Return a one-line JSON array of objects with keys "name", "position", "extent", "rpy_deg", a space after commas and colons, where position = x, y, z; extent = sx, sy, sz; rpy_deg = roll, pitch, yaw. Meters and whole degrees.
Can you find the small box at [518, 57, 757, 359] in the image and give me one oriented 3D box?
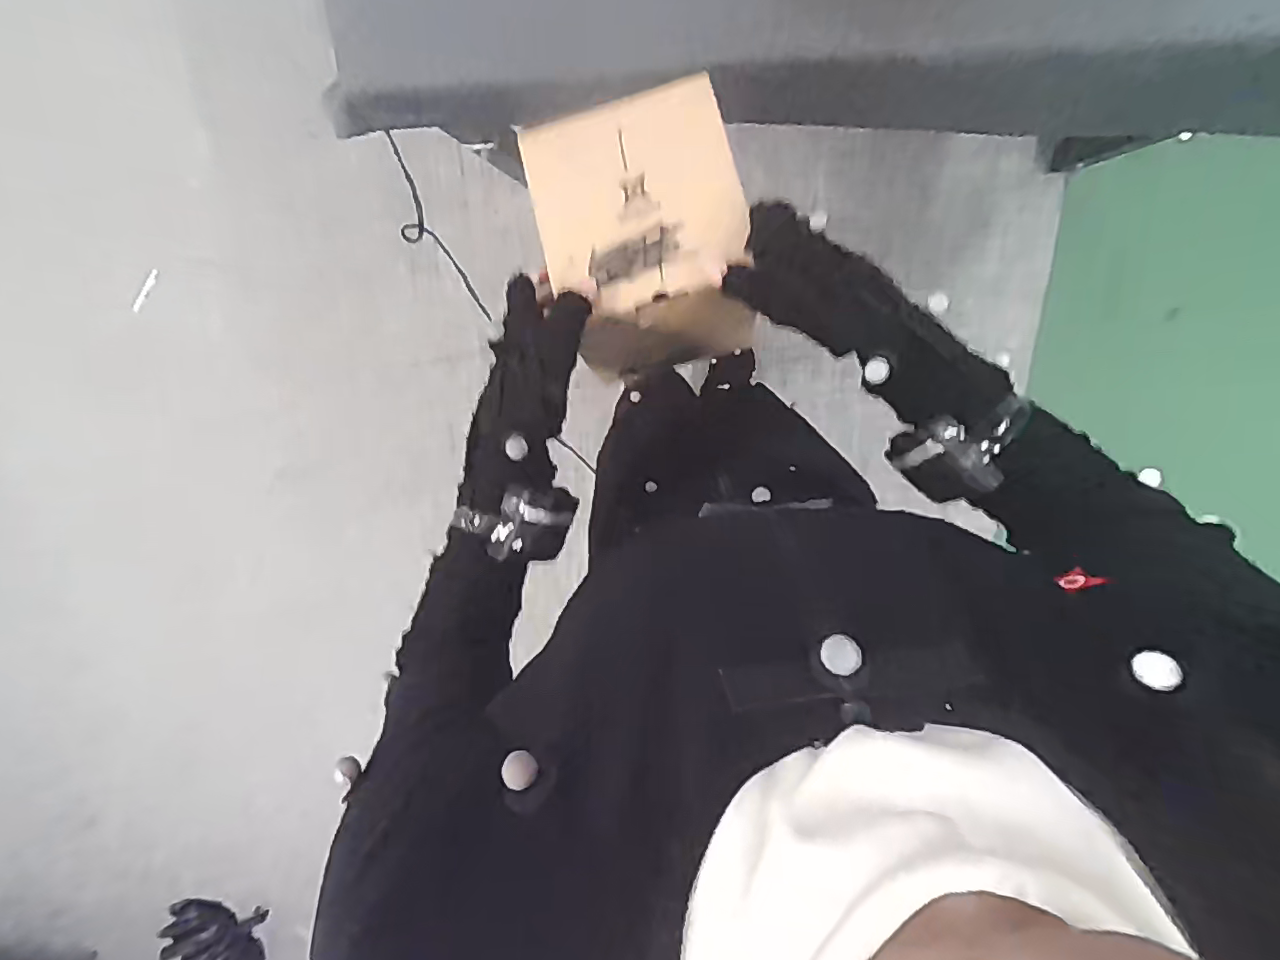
[{"name": "small box", "position": [0.006, -0.228, 0.506], "extent": [0.168, 0.176, 0.179], "rpy_deg": [-14, 82, 5]}]
